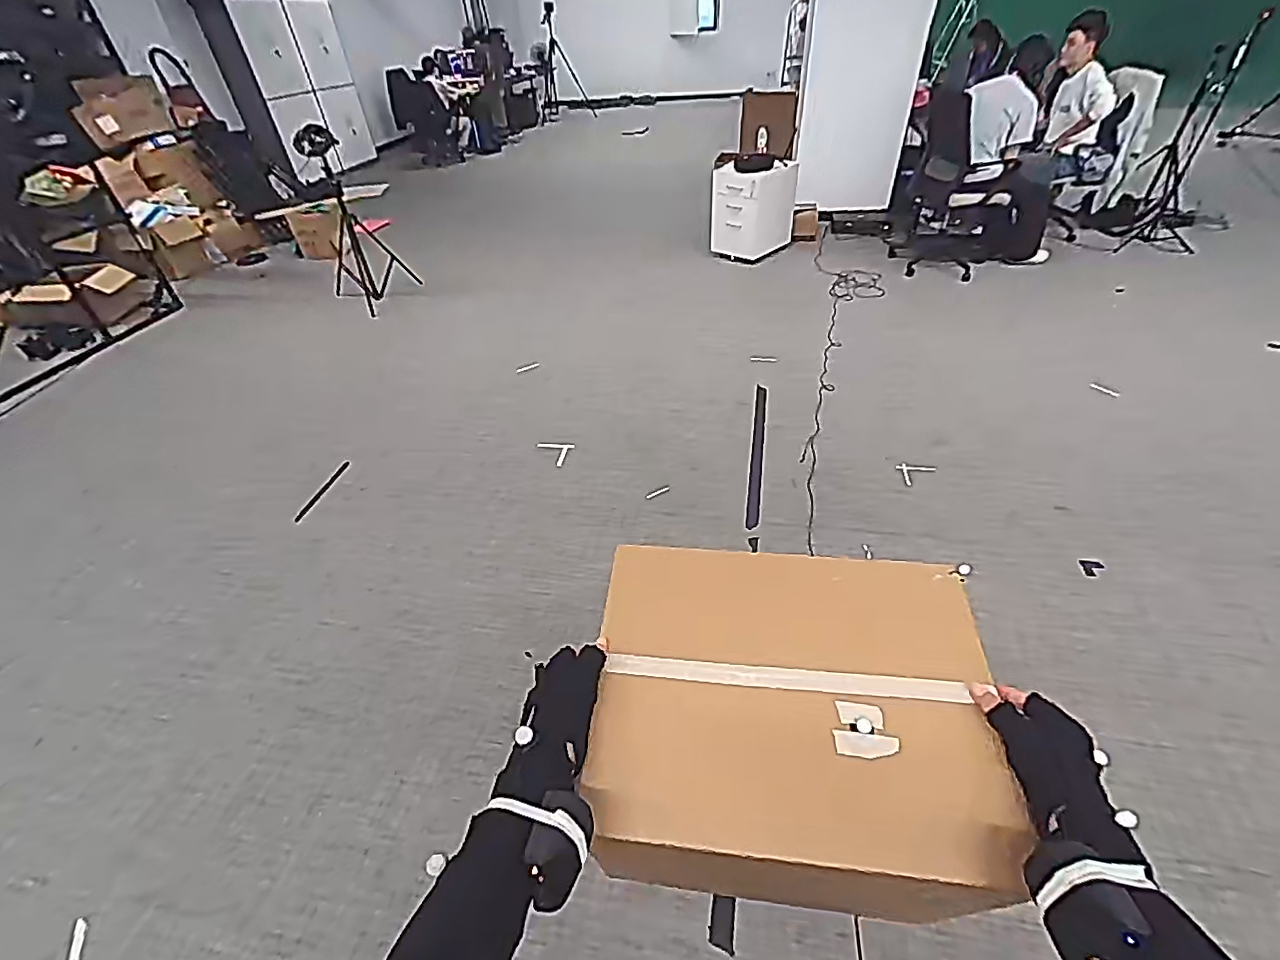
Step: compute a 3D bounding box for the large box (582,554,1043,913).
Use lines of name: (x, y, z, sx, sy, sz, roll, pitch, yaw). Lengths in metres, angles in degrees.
large box: (0.164, 0.314, 0.679, 0.408, 0.320, 0.320, 3, 48, 7)
